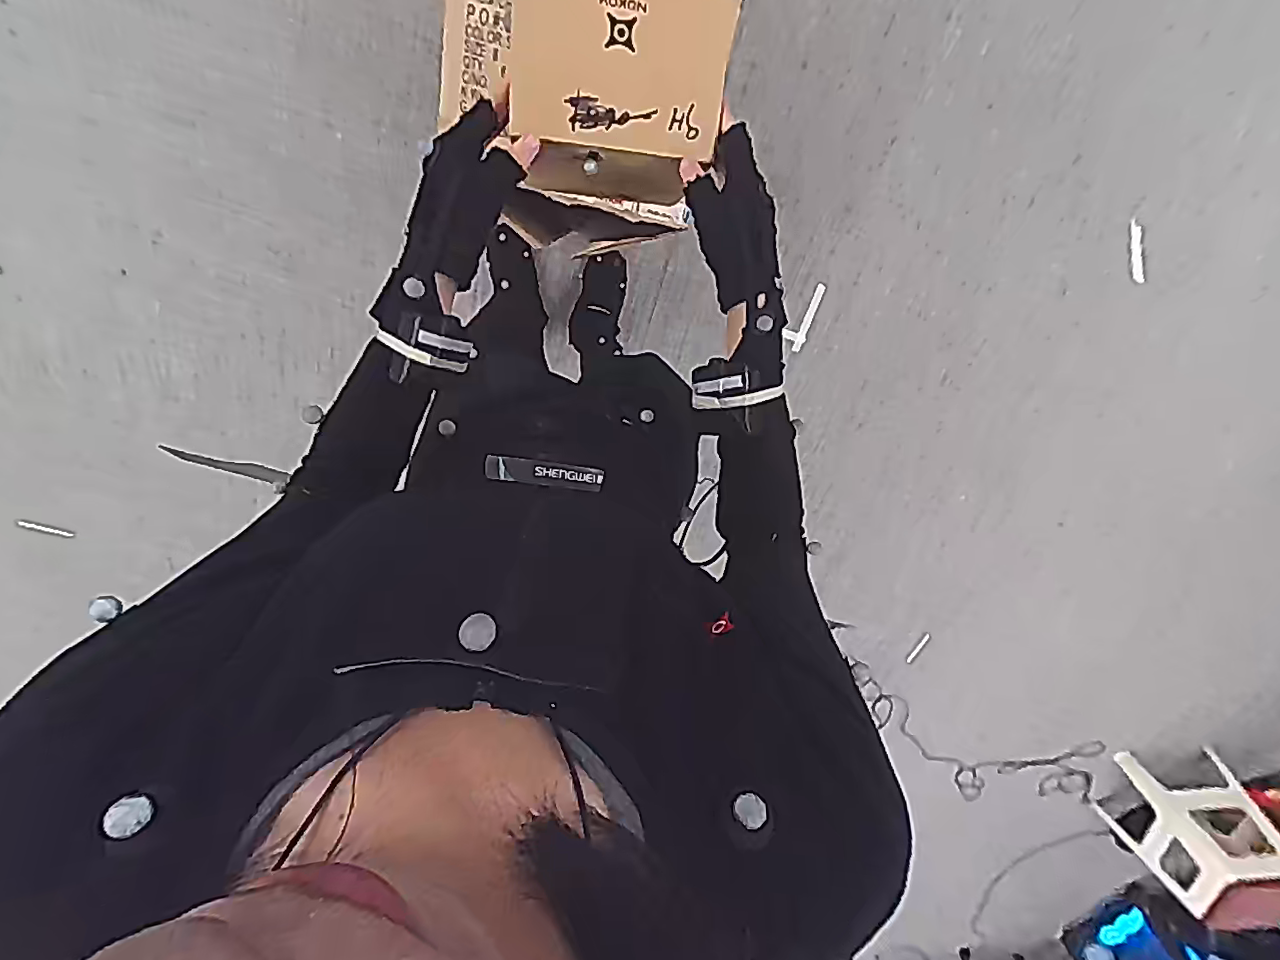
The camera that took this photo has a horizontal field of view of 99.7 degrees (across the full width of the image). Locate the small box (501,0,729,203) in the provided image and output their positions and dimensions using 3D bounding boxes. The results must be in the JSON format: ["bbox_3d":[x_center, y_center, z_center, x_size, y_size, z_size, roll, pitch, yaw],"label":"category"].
[{"bbox_3d":[-0.027,-0.363,0.470,0.168,0.176,0.179,3,105,-9],"label":"small box"}]
